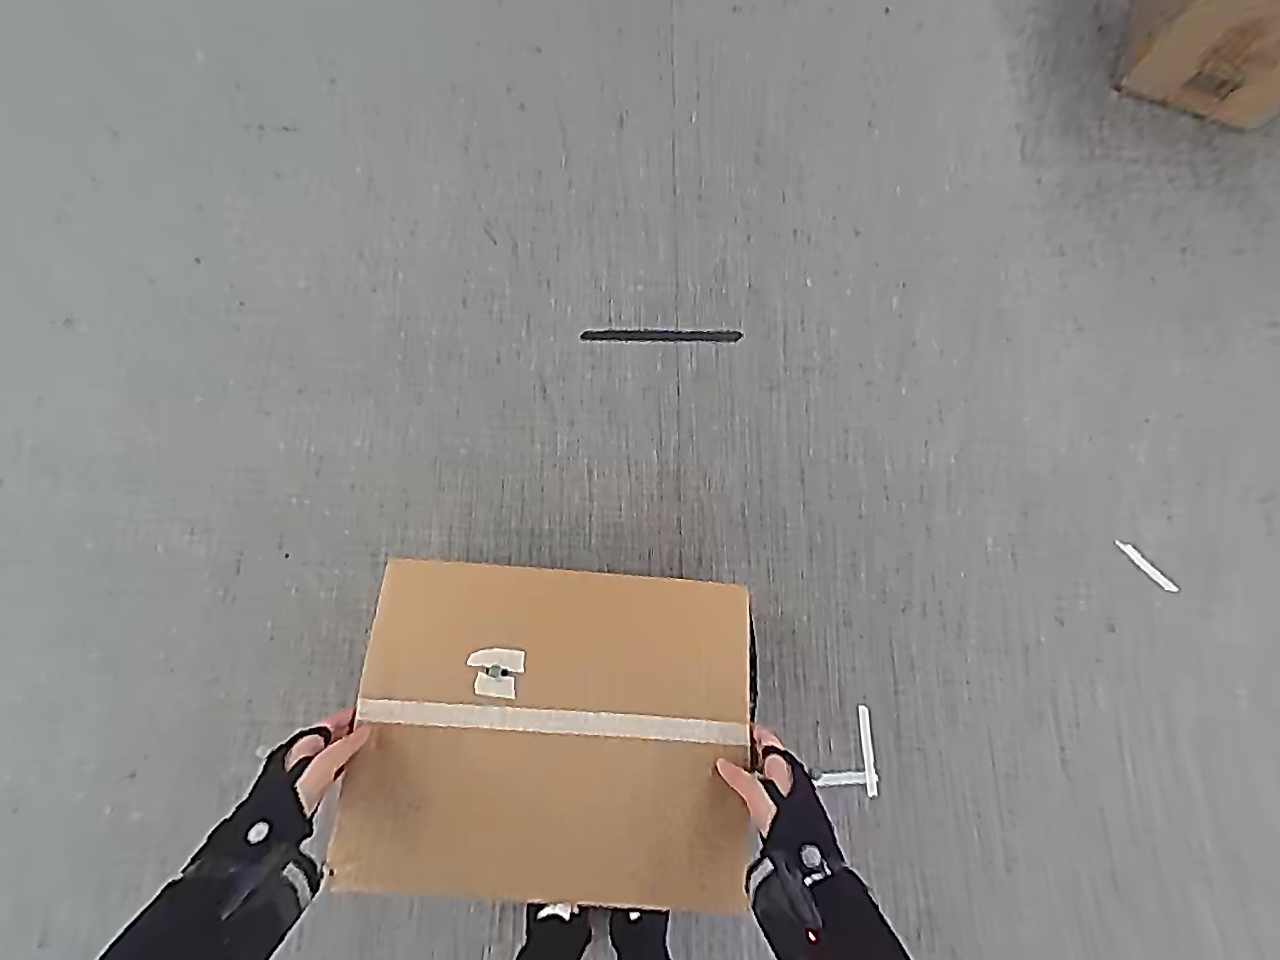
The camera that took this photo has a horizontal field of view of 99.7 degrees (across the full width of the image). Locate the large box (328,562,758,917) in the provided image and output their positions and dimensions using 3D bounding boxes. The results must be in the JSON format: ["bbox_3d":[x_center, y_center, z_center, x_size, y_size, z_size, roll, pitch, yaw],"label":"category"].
[{"bbox_3d":[-0.083,0.292,0.684,0.408,0.320,0.320,4,70,-1],"label":"large box"}]
